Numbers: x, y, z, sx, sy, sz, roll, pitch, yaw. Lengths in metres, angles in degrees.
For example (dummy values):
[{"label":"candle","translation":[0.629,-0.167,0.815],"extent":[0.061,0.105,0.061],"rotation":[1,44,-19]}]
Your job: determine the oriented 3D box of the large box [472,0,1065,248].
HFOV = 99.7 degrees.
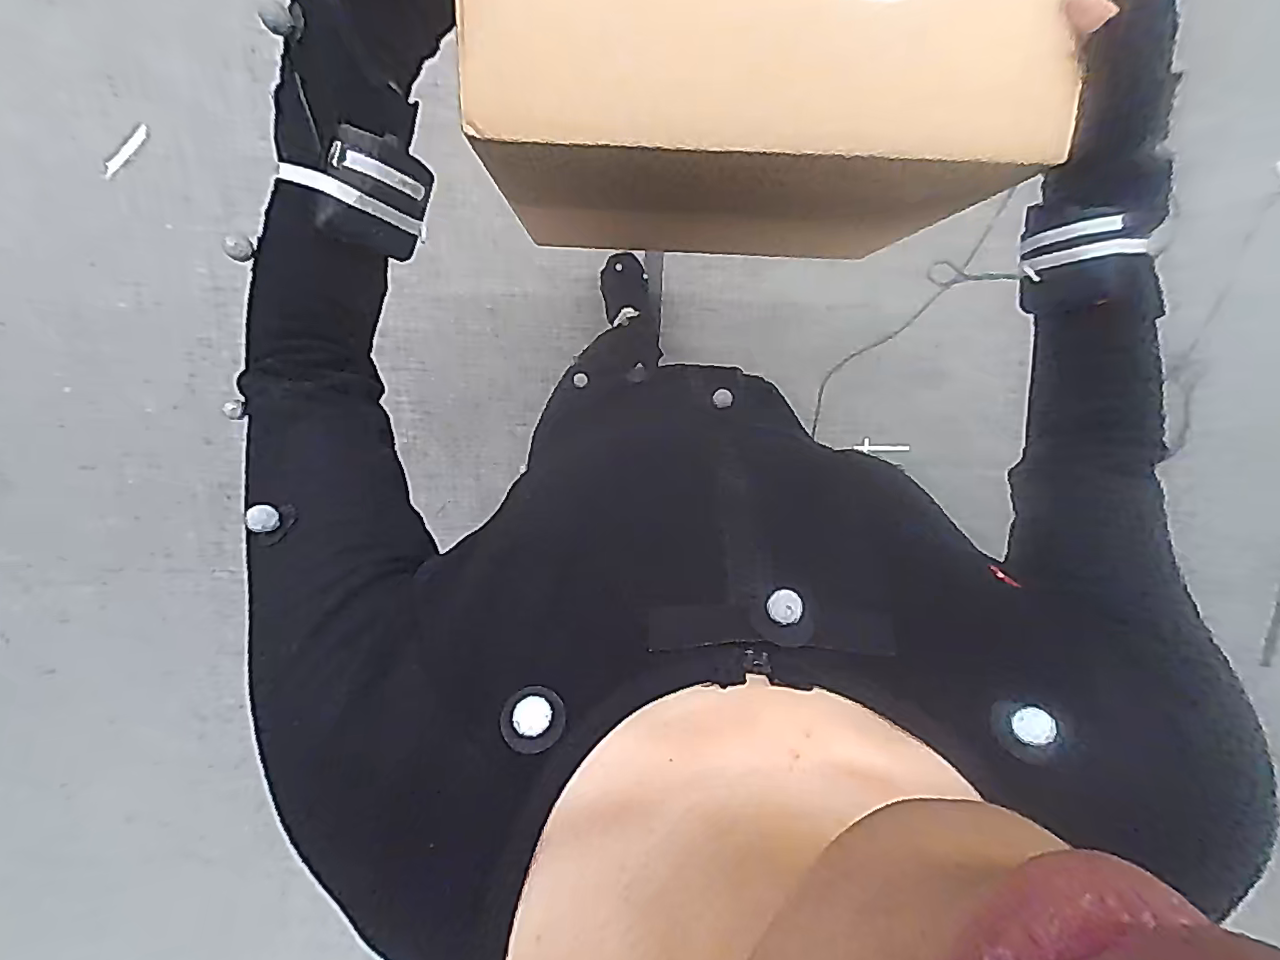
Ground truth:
[{"label":"large box","translation":[0.080,-0.410,0.489],"extent":[0.408,0.320,0.320],"rotation":[1,101,-3]}]
